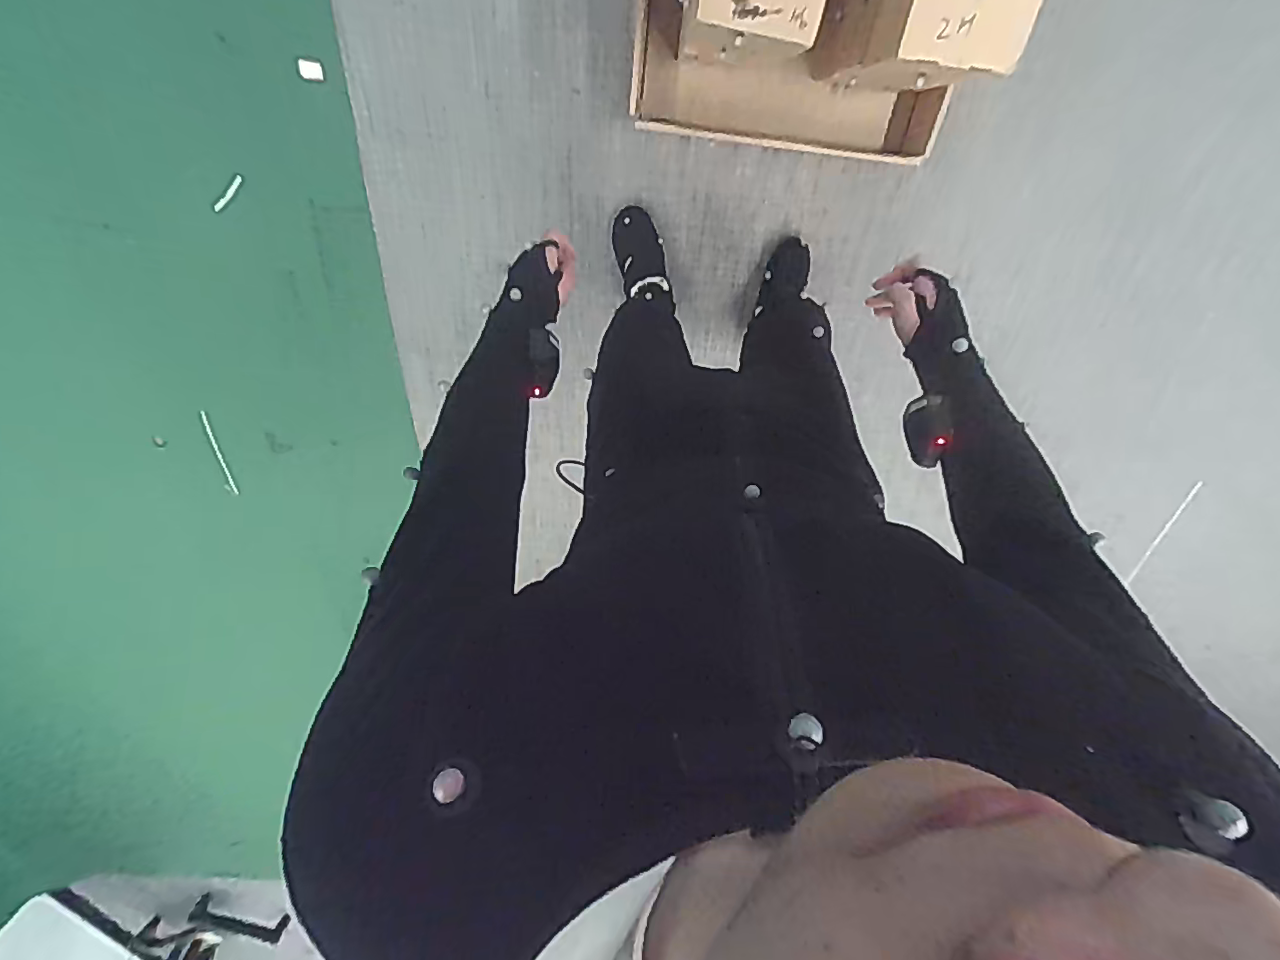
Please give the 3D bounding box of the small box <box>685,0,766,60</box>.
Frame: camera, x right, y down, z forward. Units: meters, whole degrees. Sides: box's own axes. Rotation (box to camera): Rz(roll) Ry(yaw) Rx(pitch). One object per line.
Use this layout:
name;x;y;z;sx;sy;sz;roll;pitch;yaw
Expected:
small box;0.169;-0.806;0.870;0.168;0.176;0.179;6;122;-4

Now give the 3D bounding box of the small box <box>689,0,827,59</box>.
small box;0.167;-0.709;0.737;0.168;0.176;0.179;8;121;-6

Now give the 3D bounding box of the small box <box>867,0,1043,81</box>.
small box;0.441;-0.679;0.751;0.168;0.176;0.179;7;123;-1

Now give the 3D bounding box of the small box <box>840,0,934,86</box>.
small box;0.448;-0.771;0.888;0.168;0.176;0.179;9;121;-3
